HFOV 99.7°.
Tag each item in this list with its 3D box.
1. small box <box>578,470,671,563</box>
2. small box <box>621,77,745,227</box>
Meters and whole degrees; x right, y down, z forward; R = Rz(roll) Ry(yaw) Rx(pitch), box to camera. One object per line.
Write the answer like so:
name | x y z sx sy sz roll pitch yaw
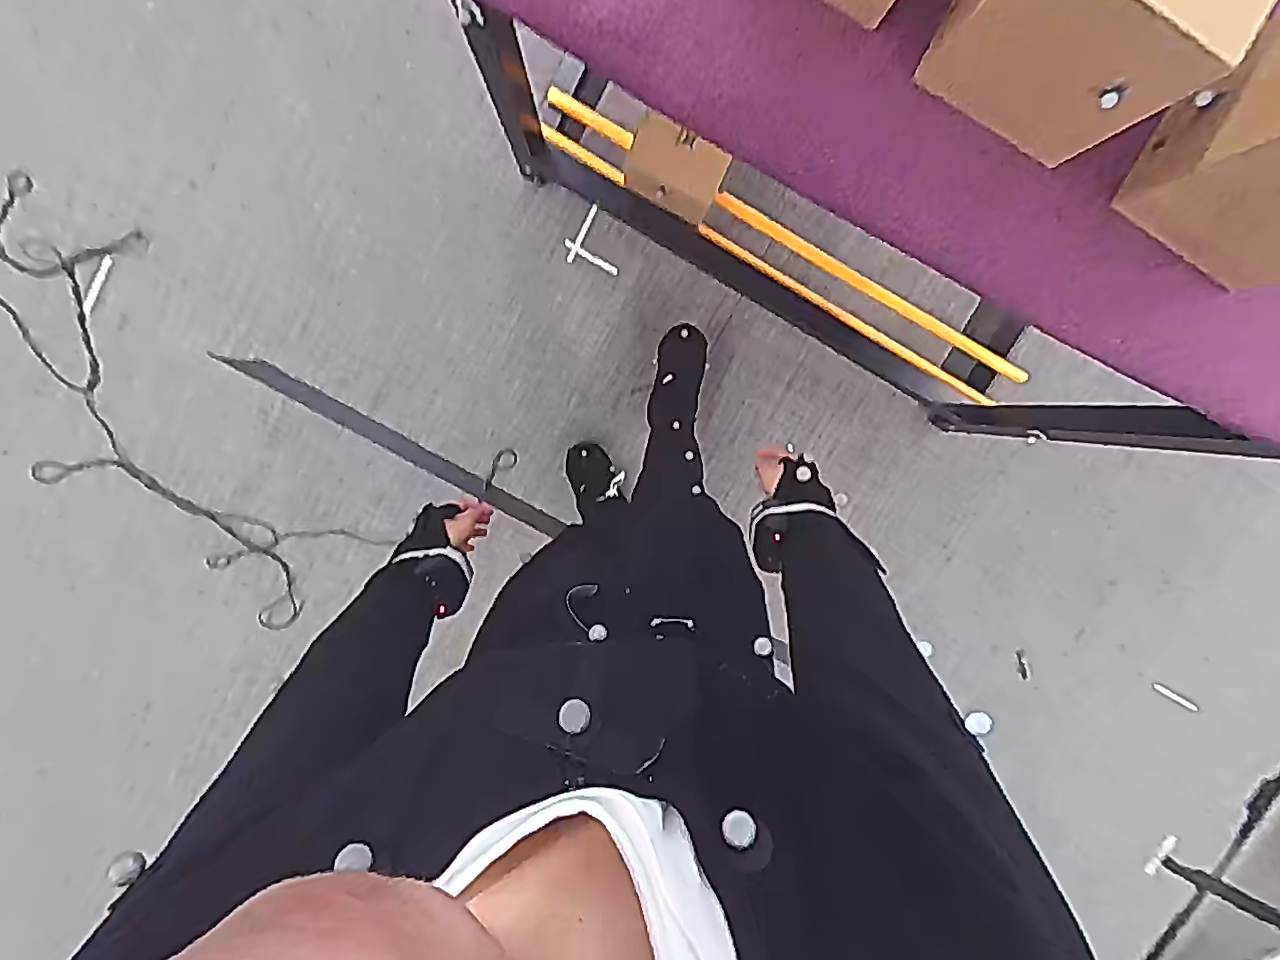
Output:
small box | -0.040 0.080 1.230 0.179 0.176 0.168 -14 97 -3
small box | 0.075 -0.614 1.043 0.179 0.176 0.168 24 98 -6
